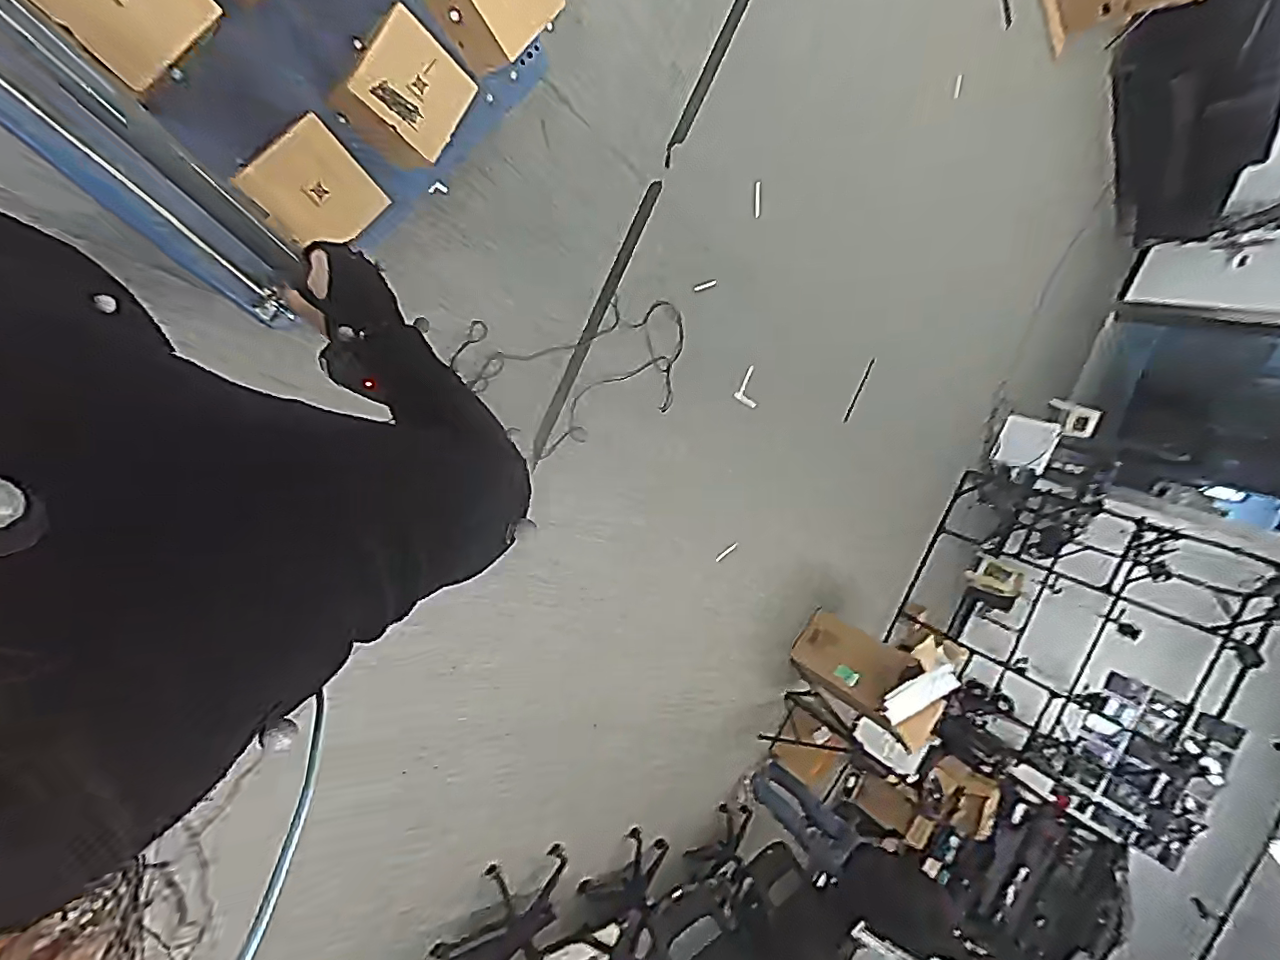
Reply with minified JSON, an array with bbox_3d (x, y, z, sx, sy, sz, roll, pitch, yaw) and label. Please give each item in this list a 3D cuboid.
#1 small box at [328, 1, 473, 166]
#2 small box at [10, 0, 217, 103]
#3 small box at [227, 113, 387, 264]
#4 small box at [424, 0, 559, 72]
[{"bbox_3d":[-0.453,-0.722,1.010,0.168,0.176,0.179,32,86,-46],"label":"small box"},{"bbox_3d":[-0.744,-0.670,0.759,0.179,0.176,0.168,-55,137,-9],"label":"small box"},{"bbox_3d":[-0.601,-0.514,0.971,0.179,0.176,0.168,-52,136,-12],"label":"small box"},{"bbox_3d":[-0.299,-0.943,1.052,0.179,0.176,0.168,-55,136,-9],"label":"small box"}]
